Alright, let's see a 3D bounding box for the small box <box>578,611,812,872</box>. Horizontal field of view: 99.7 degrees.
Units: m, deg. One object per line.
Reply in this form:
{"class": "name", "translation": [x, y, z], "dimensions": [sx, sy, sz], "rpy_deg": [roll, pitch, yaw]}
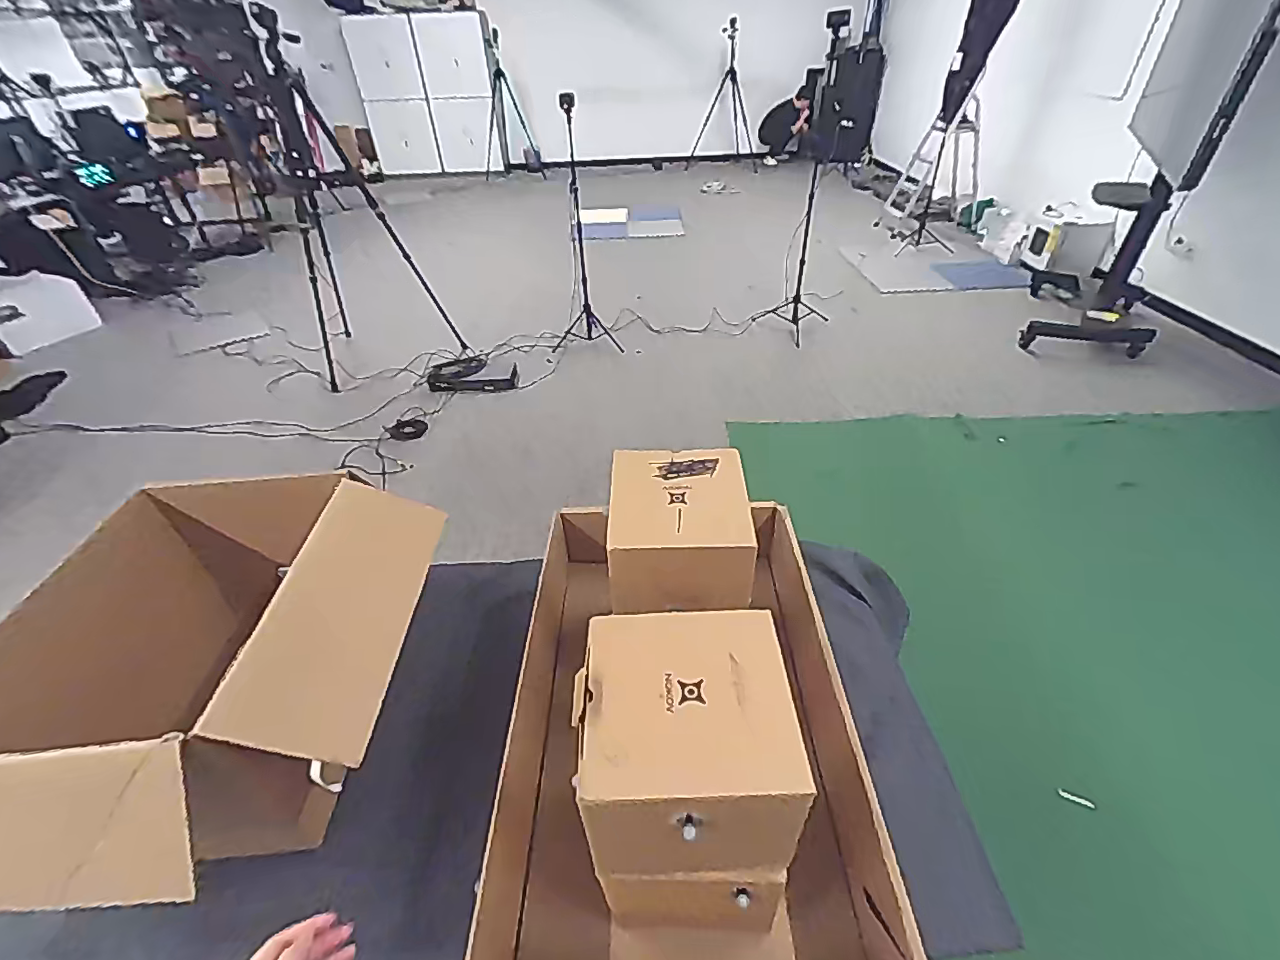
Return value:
{"class": "small box", "translation": [0.044, 0.243, 0.505], "dimensions": [0.179, 0.176, 0.168], "rpy_deg": [-3, 39, 0]}

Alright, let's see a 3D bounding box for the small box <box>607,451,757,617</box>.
{"class": "small box", "translation": [0.050, 0.081, 0.700], "dimensions": [0.168, 0.176, 0.179], "rpy_deg": [-2, 41, 3]}
